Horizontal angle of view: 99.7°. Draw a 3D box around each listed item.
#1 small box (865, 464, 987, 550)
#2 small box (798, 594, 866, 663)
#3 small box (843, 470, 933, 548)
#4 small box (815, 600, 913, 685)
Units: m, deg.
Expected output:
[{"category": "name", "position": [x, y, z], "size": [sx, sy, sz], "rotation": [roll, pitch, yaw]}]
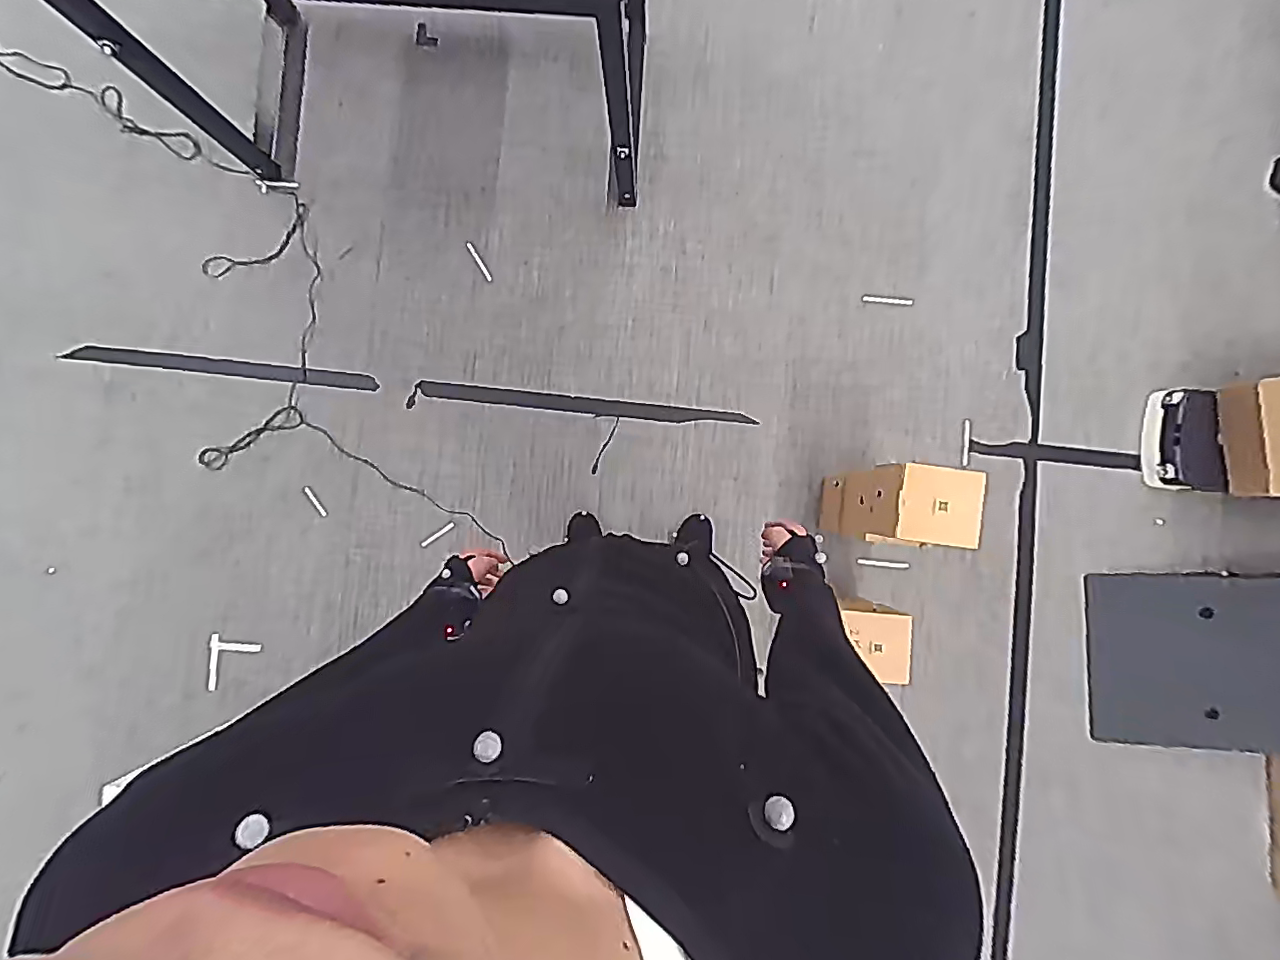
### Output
[{"category": "small box", "position": [0.636, 0.057, 1.218], "size": [0.179, 0.176, 0.168], "rotation": [8, 89, 2]}, {"category": "small box", "position": [0.563, 0.422, 1.538], "size": [0.179, 0.176, 0.168], "rotation": [4, 87, 2]}, {"category": "small box", "position": [0.632, 0.071, 1.380], "size": [0.168, 0.176, 0.179], "rotation": [5, 89, 1]}, {"category": "small box", "position": [0.562, 0.405, 1.374], "size": [0.179, 0.176, 0.168], "rotation": [5, 87, 2]}]
